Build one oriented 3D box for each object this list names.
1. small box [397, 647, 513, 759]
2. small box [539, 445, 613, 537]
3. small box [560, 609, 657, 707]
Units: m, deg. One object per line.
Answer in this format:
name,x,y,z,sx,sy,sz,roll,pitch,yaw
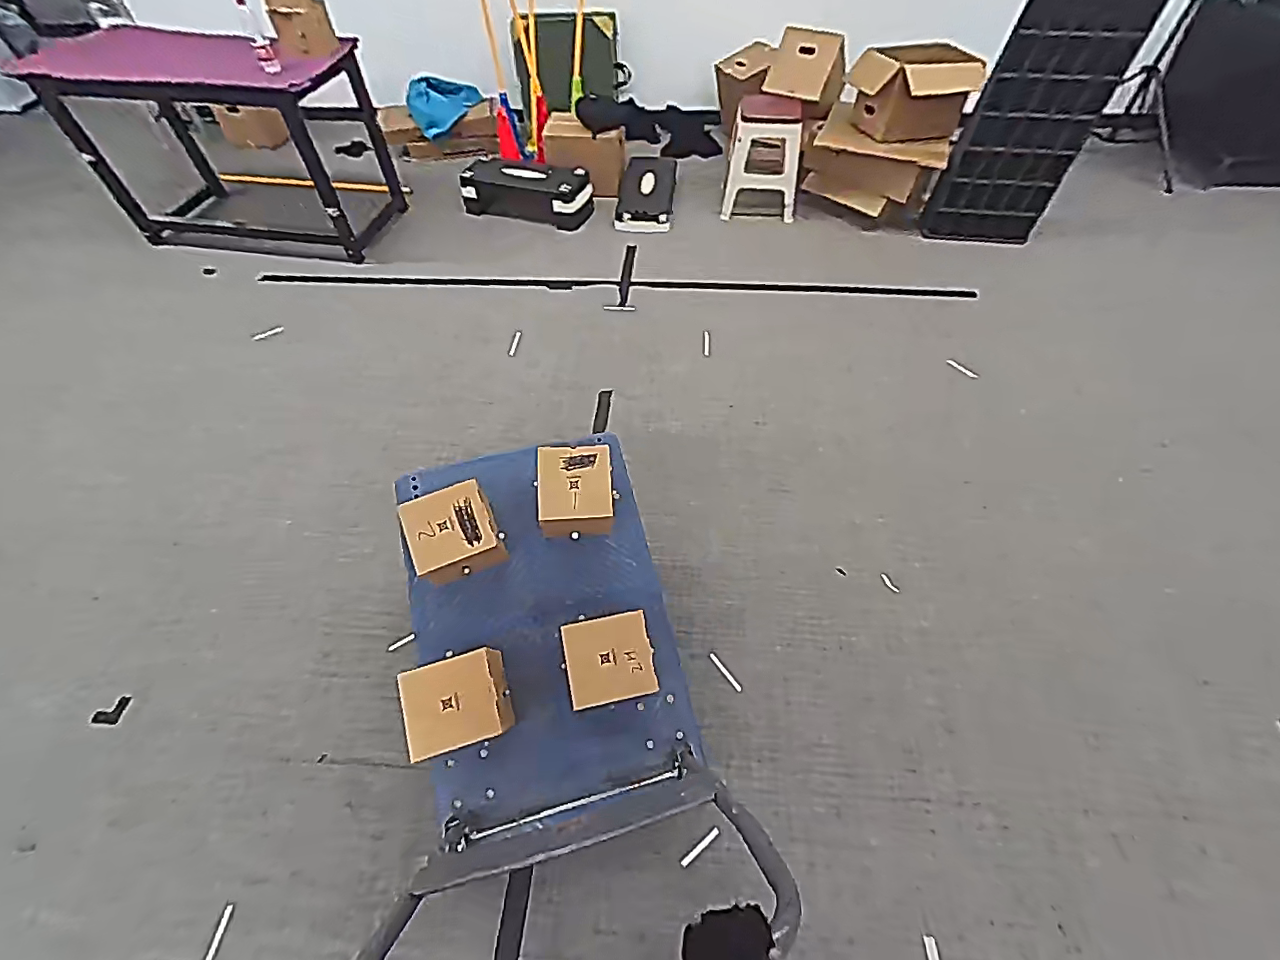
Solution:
small box,-0.374,0.455,1.115,0.179,0.176,0.168,-15,72,-11
small box,-0.153,0.029,1.287,0.168,0.176,0.179,-2,71,-6
small box,-0.069,0.385,1.165,0.179,0.176,0.168,-10,72,-8
